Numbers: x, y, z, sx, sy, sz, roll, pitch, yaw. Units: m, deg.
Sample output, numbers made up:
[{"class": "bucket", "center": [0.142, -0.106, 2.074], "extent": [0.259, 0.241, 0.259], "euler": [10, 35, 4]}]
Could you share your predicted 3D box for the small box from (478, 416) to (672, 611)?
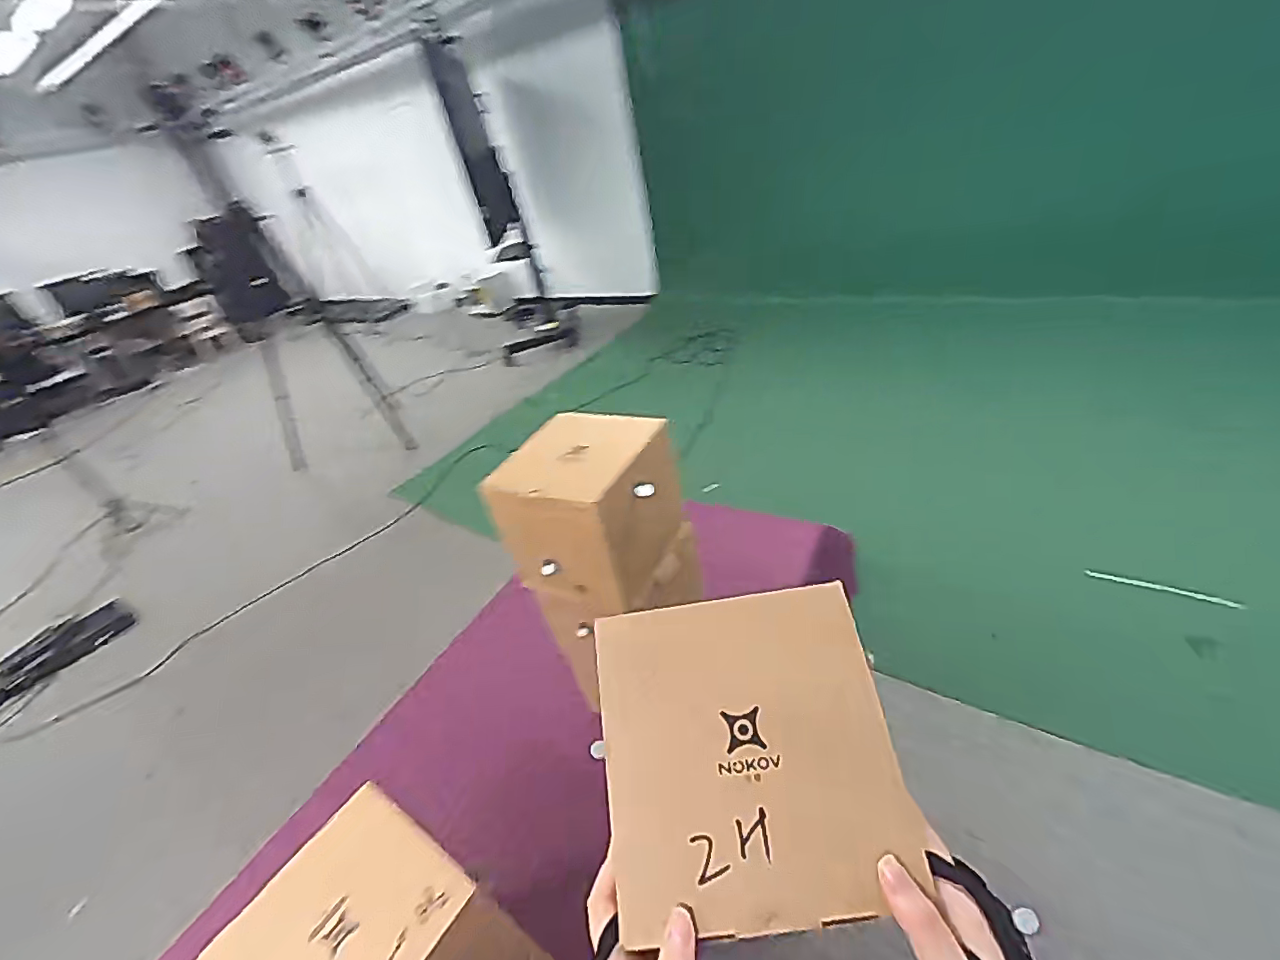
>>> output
[{"class": "small box", "center": [-0.069, 0.037, 0.698], "extent": [0.168, 0.176, 0.179], "euler": [7, 40, 29]}]

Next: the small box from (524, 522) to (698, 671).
[{"class": "small box", "center": [-0.031, 0.165, 0.791], "extent": [0.179, 0.176, 0.168], "euler": [7, 39, 31]}]

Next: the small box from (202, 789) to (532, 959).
[{"class": "small box", "center": [-0.230, 0.429, 0.484], "extent": [0.179, 0.176, 0.168], "euler": [12, 44, 35]}]

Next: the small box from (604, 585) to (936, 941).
[{"class": "small box", "center": [0.072, 0.192, 0.388], "extent": [0.168, 0.176, 0.179], "euler": [-9, 62, 4]}]
